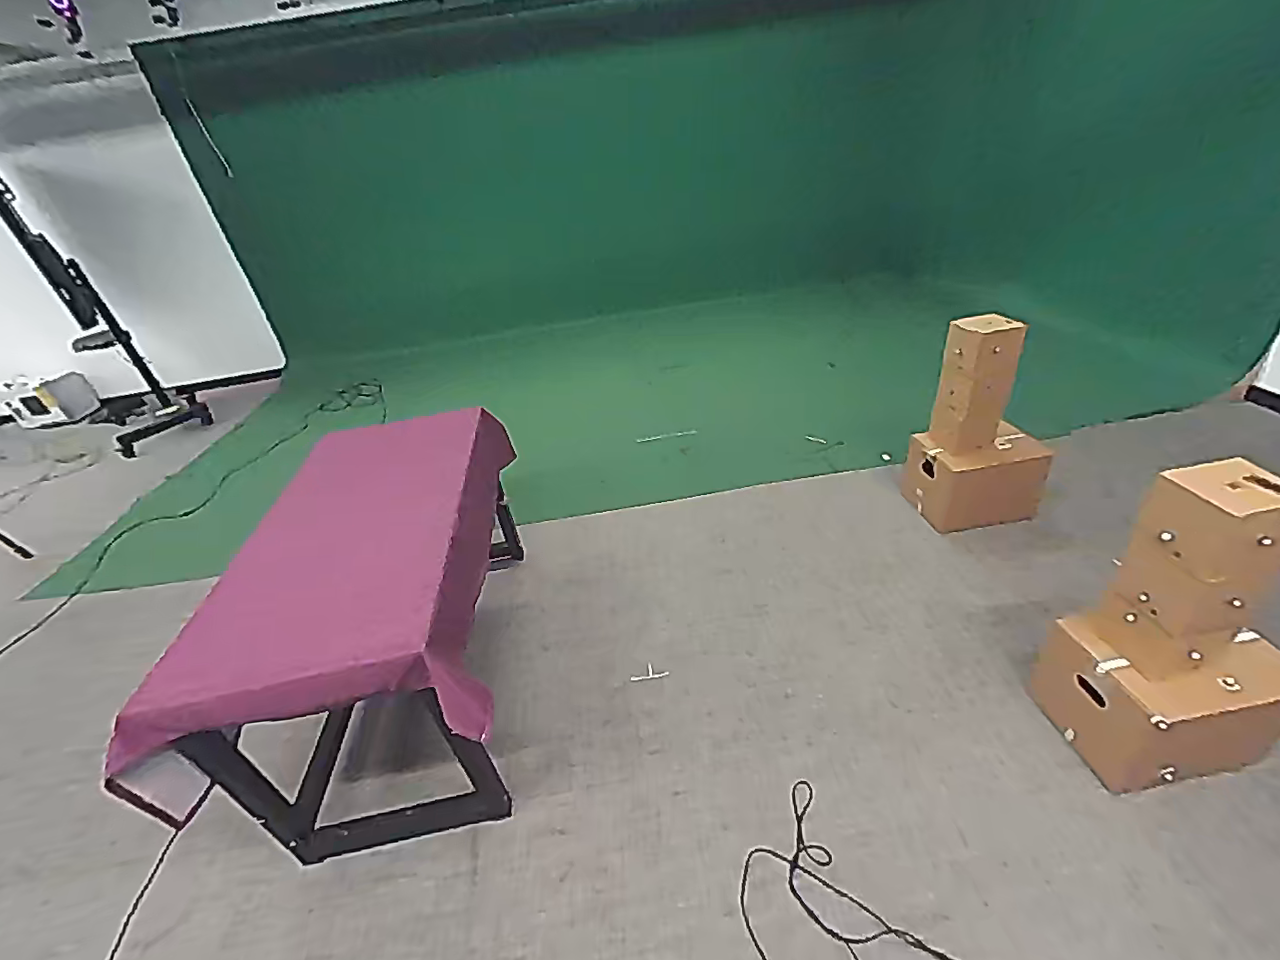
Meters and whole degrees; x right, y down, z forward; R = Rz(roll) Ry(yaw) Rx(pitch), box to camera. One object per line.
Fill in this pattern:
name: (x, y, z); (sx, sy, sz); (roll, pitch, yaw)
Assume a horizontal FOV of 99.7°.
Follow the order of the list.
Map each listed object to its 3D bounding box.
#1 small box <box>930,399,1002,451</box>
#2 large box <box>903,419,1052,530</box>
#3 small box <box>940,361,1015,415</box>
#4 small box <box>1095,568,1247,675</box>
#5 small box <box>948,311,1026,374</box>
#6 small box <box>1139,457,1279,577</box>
small box: (1.287, -0.224, 2.147); (0.168, 0.176, 0.179); (-10, 32, -3)
large box: (1.390, -0.025, 2.267); (0.408, 0.320, 0.320); (-9, 33, -2)
small box: (1.273, -0.361, 2.058); (0.179, 0.176, 0.168); (-12, 34, -7)
small box: (1.255, 0.345, 1.295); (0.168, 0.176, 0.179); (-11, 32, -3)
small box: (1.251, -0.497, 1.967); (0.179, 0.176, 0.168); (-12, 33, -4)
small box: (1.199, 0.076, 1.112); (0.179, 0.176, 0.168); (-11, 32, 1)
